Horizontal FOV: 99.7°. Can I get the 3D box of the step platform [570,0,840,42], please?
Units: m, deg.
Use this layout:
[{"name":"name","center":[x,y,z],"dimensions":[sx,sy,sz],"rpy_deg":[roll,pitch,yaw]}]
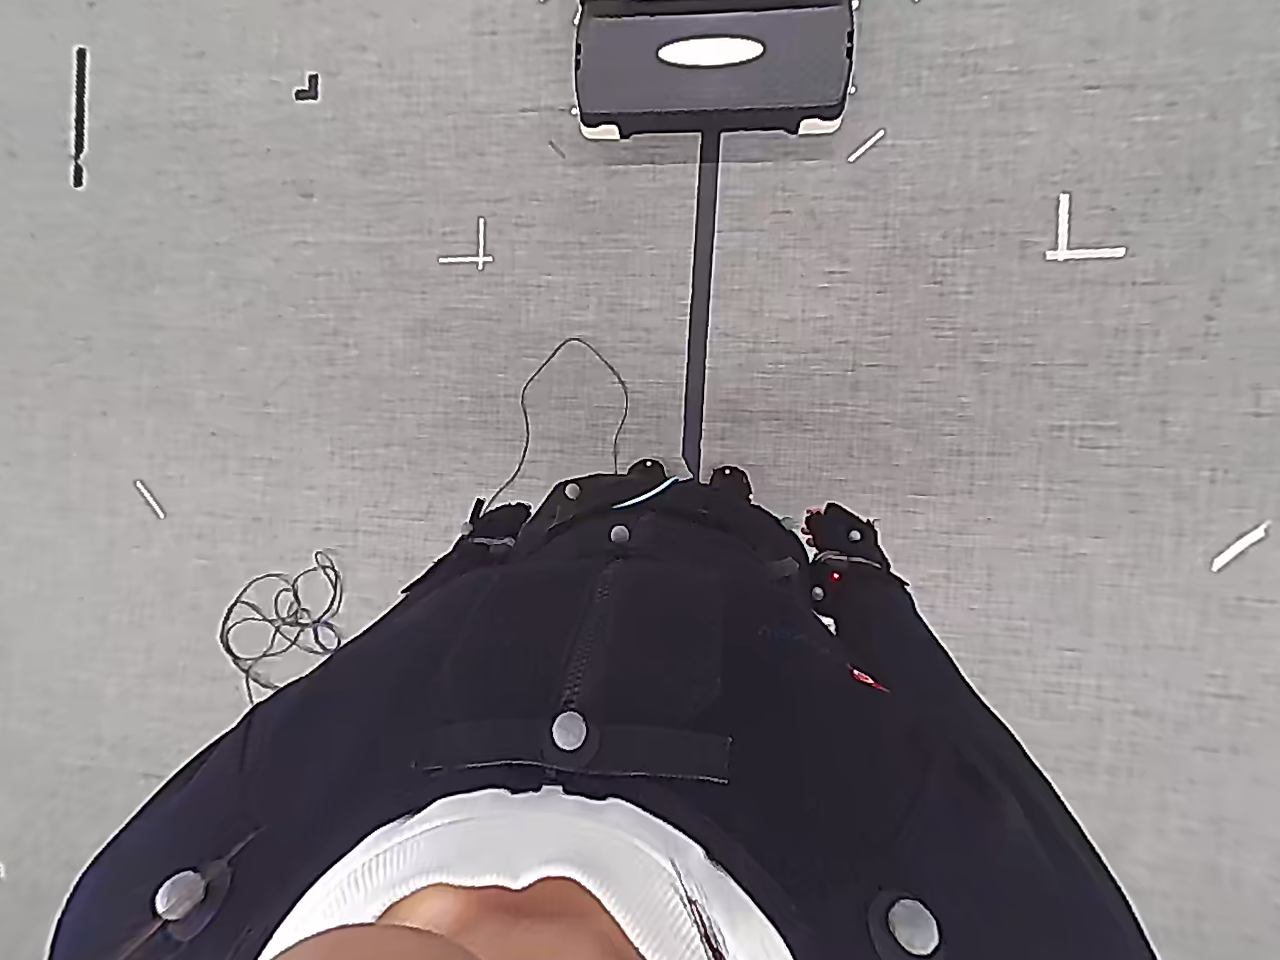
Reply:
[{"name":"step platform","center":[0.158,-1.279,1.288],"dimensions":[0.684,0.204,0.286],"rpy_deg":[1,93,6]}]
